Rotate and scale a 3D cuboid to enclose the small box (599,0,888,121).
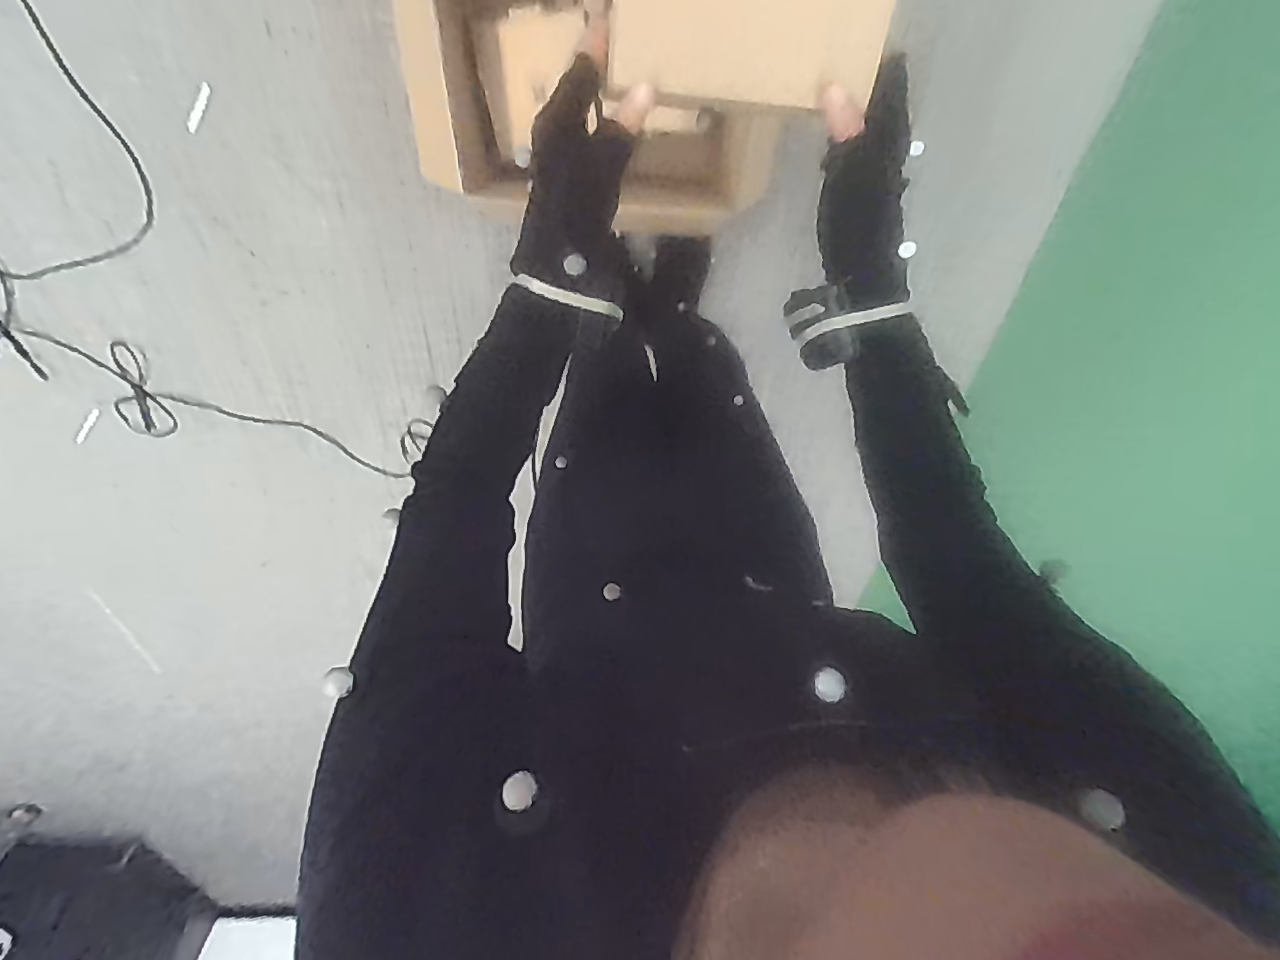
[{"bbox_3d":[0.060,-0.352,0.362,0.168,0.176,0.179,-1,122,-8],"label":"small box"}]
